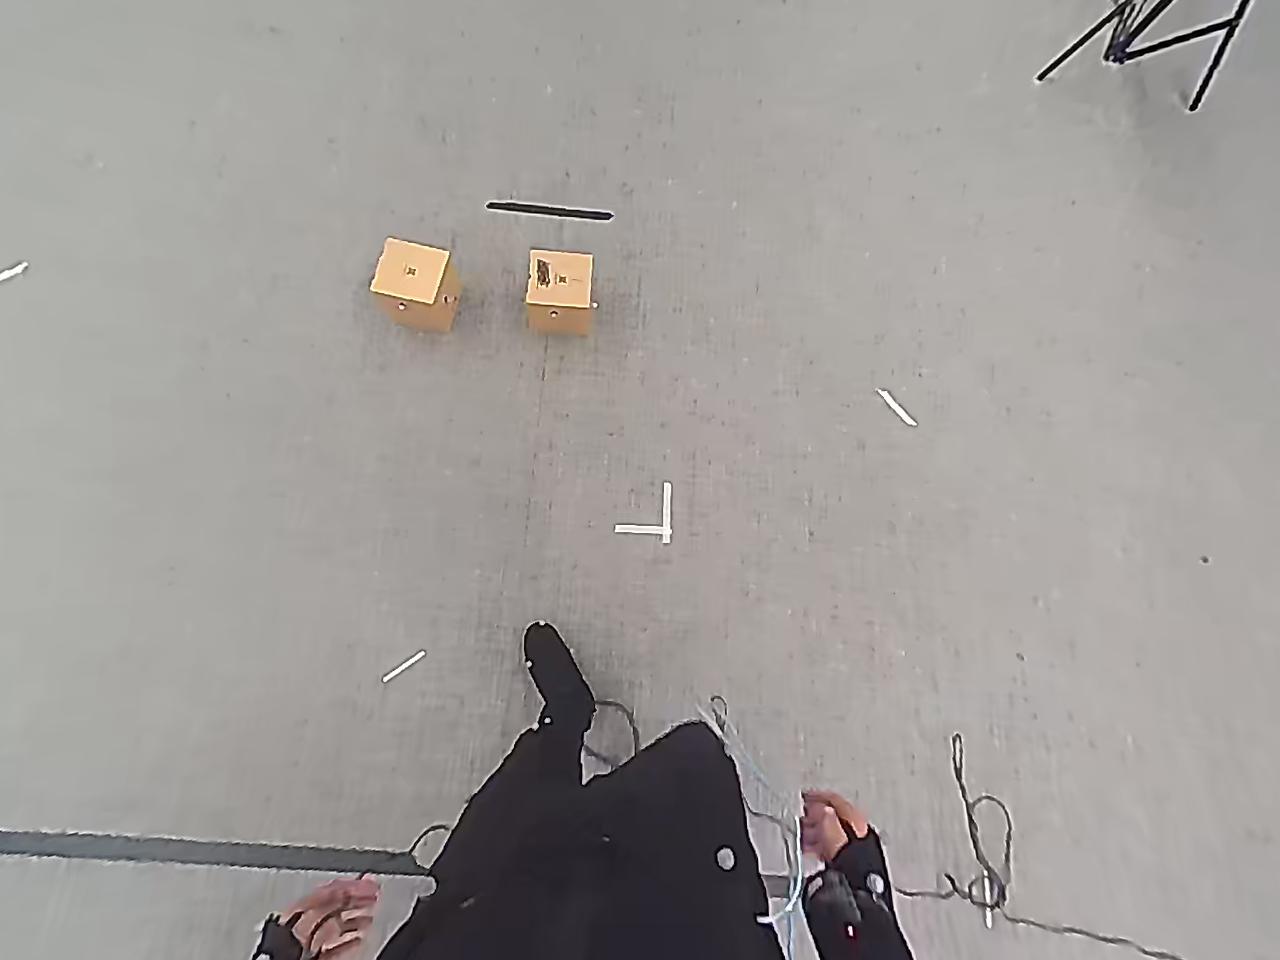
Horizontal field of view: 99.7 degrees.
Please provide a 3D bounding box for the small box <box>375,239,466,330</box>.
[{"bbox_3d":[-0.612,-0.546,1.535,0.179,0.176,0.168,12,78,-1],"label":"small box"}]

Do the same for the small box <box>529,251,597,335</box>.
[{"bbox_3d":[-0.217,-0.533,1.562,0.179,0.176,0.168,4,78,-5],"label":"small box"}]
